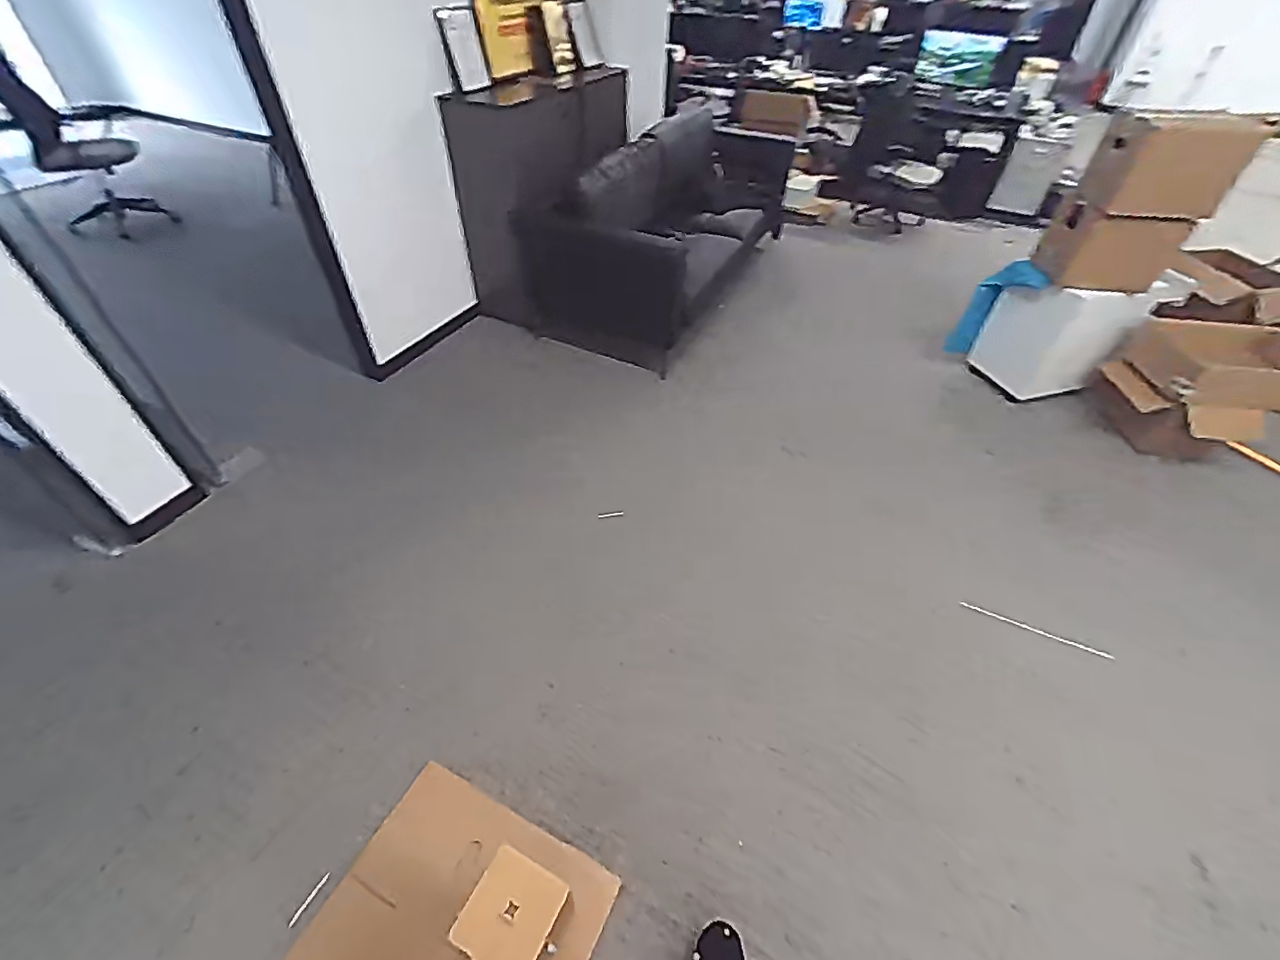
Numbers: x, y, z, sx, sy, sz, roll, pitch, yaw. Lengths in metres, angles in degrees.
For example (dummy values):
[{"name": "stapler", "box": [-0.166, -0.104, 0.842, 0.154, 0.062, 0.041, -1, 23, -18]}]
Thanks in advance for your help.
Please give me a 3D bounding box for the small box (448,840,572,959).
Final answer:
[{"name": "small box", "box": [-0.250, 0.868, 1.080, 0.168, 0.176, 0.179, 22, 49, 16]}]
